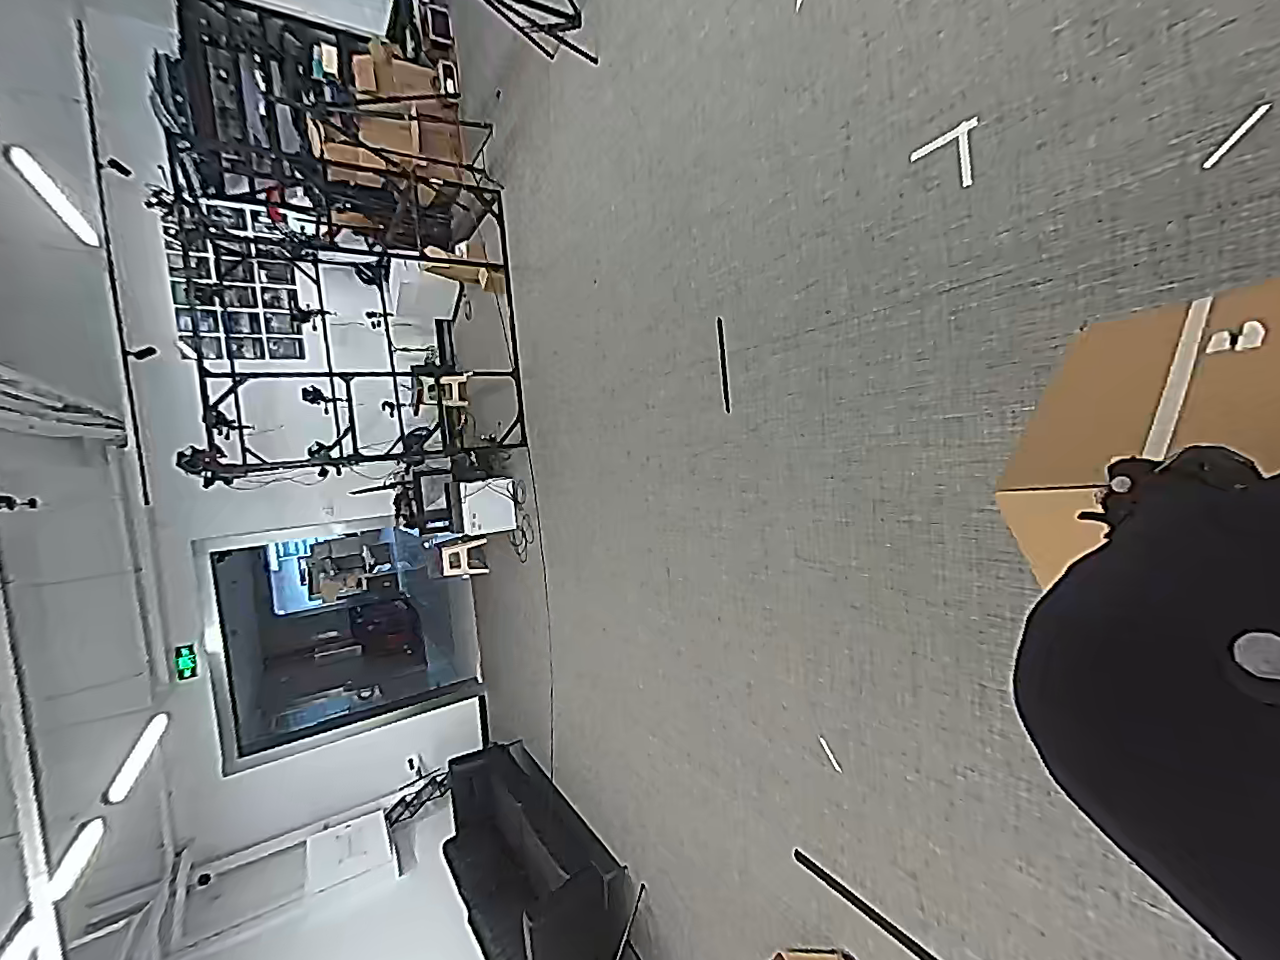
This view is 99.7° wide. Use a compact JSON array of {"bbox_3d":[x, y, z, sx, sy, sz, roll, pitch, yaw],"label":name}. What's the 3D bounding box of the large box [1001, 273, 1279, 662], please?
[{"bbox_3d":[0.765,-0.019,0.724,0.320,0.408,0.320,53,153,-19],"label":"large box"}]
